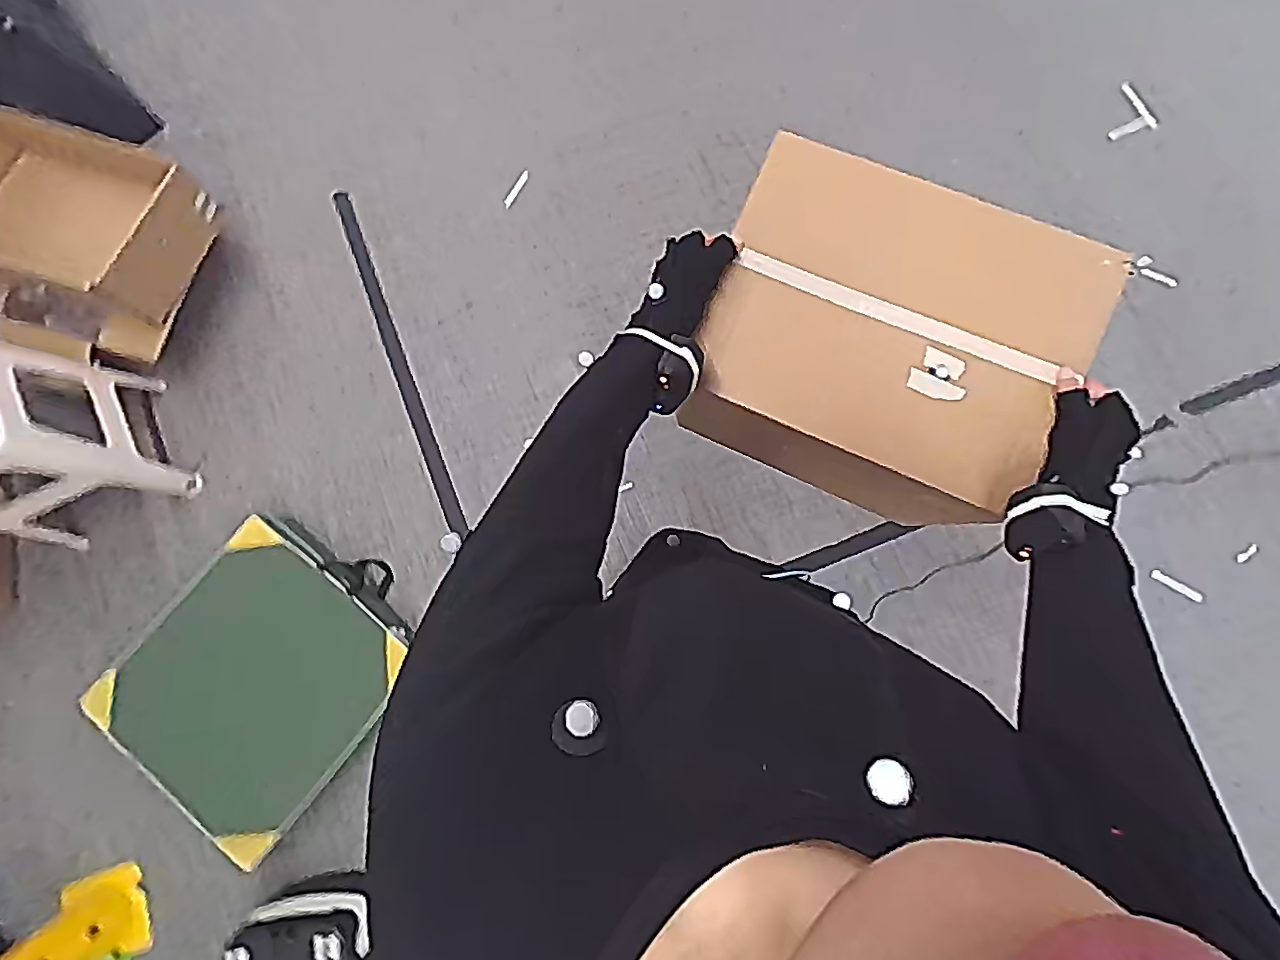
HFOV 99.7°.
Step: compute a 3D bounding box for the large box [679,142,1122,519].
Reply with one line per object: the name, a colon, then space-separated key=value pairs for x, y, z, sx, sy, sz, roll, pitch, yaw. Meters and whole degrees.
large box: x=0.295 y=-0.167 z=0.750 sx=0.408 sy=0.320 sz=0.320 roll=26 pitch=88 yaw=7
